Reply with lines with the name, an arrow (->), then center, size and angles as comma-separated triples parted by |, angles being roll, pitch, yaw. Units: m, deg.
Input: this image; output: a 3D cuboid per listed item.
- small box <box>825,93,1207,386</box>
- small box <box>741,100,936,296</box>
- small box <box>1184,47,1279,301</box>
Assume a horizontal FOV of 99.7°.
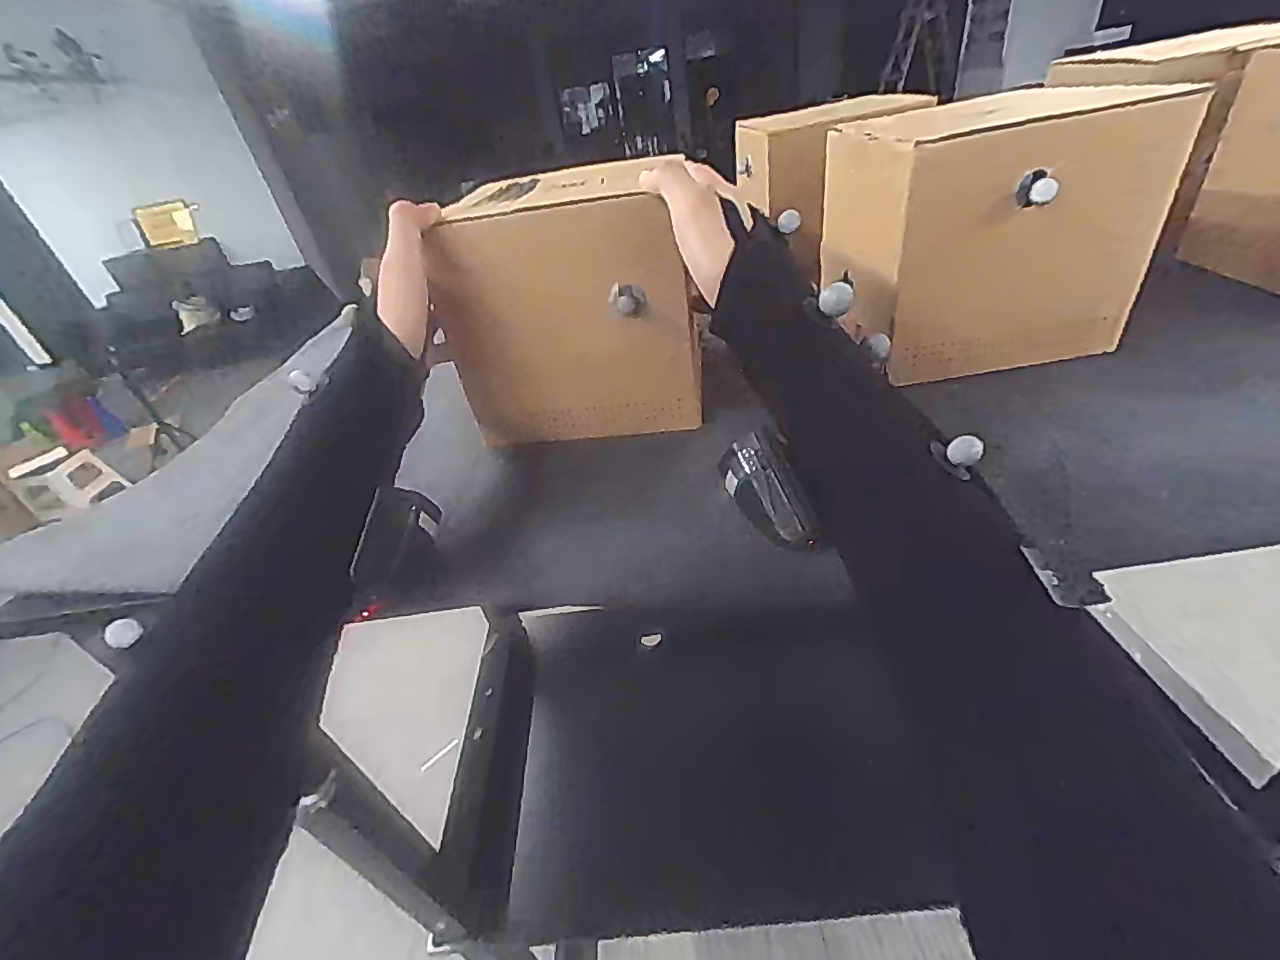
small box -> 0.261, -0.193, 0.434 | 0.179, 0.176, 0.168 | -9, 35, 4
small box -> 0.216, -0.333, 0.639 | 0.168, 0.176, 0.179 | -9, 36, 4
small box -> 0.581, -0.235, 0.404 | 0.168, 0.176, 0.179 | -5, 36, 10
